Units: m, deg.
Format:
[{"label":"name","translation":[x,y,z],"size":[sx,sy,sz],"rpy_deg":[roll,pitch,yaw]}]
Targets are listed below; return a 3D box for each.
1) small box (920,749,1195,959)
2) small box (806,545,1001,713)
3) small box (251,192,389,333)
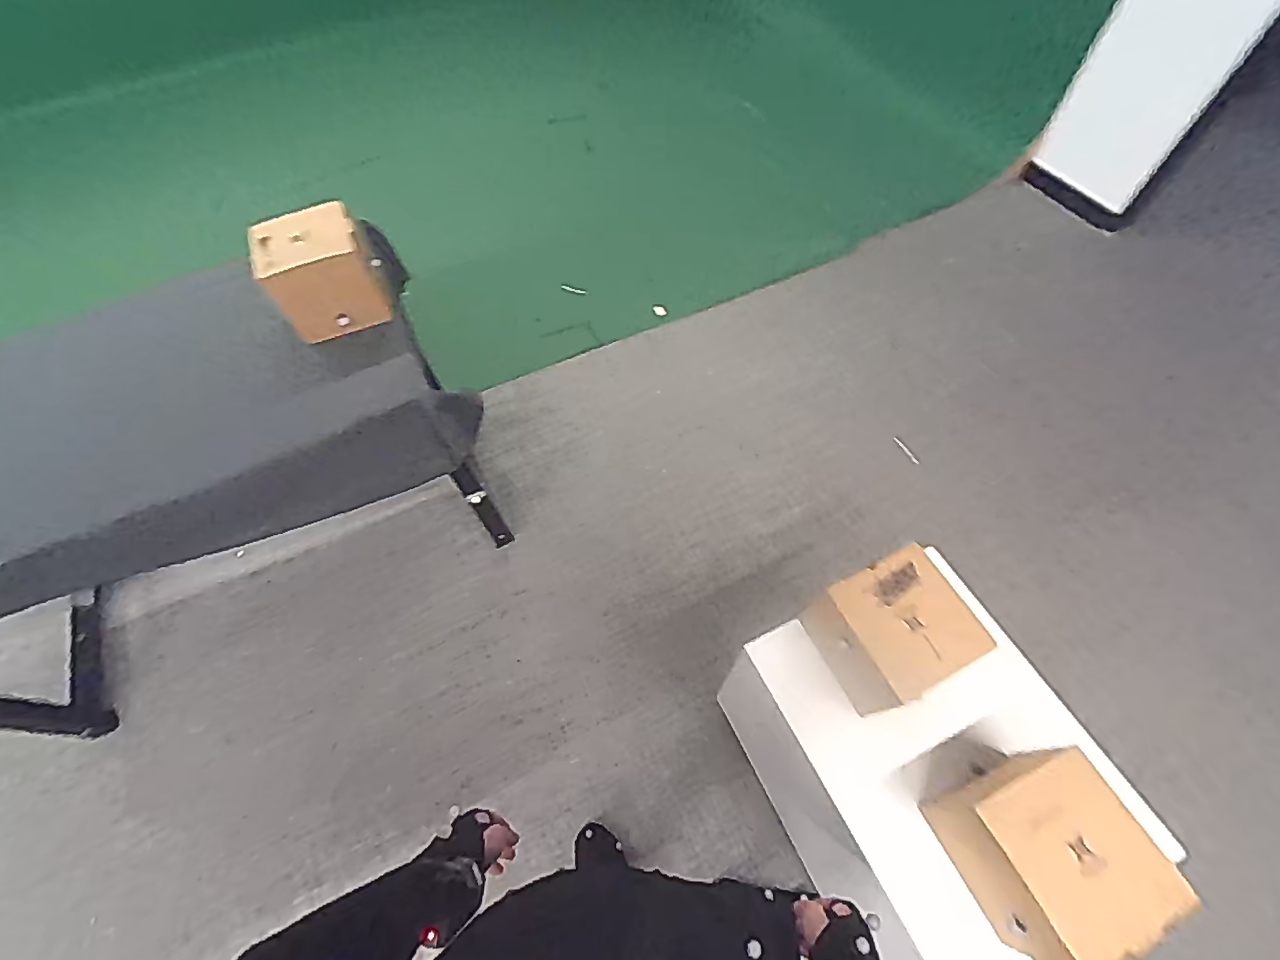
[{"label":"small box","translation":[0.505,0.469,0.686],"size":[0.168,0.176,0.179],"rpy_deg":[-22,61,-12]},{"label":"small box","translation":[0.379,0.230,0.818],"size":[0.168,0.176,0.179],"rpy_deg":[-23,65,-11]},{"label":"small box","translation":[-0.610,-0.417,1.051],"size":[0.179,0.176,0.168],"rpy_deg":[-21,62,-10]}]
